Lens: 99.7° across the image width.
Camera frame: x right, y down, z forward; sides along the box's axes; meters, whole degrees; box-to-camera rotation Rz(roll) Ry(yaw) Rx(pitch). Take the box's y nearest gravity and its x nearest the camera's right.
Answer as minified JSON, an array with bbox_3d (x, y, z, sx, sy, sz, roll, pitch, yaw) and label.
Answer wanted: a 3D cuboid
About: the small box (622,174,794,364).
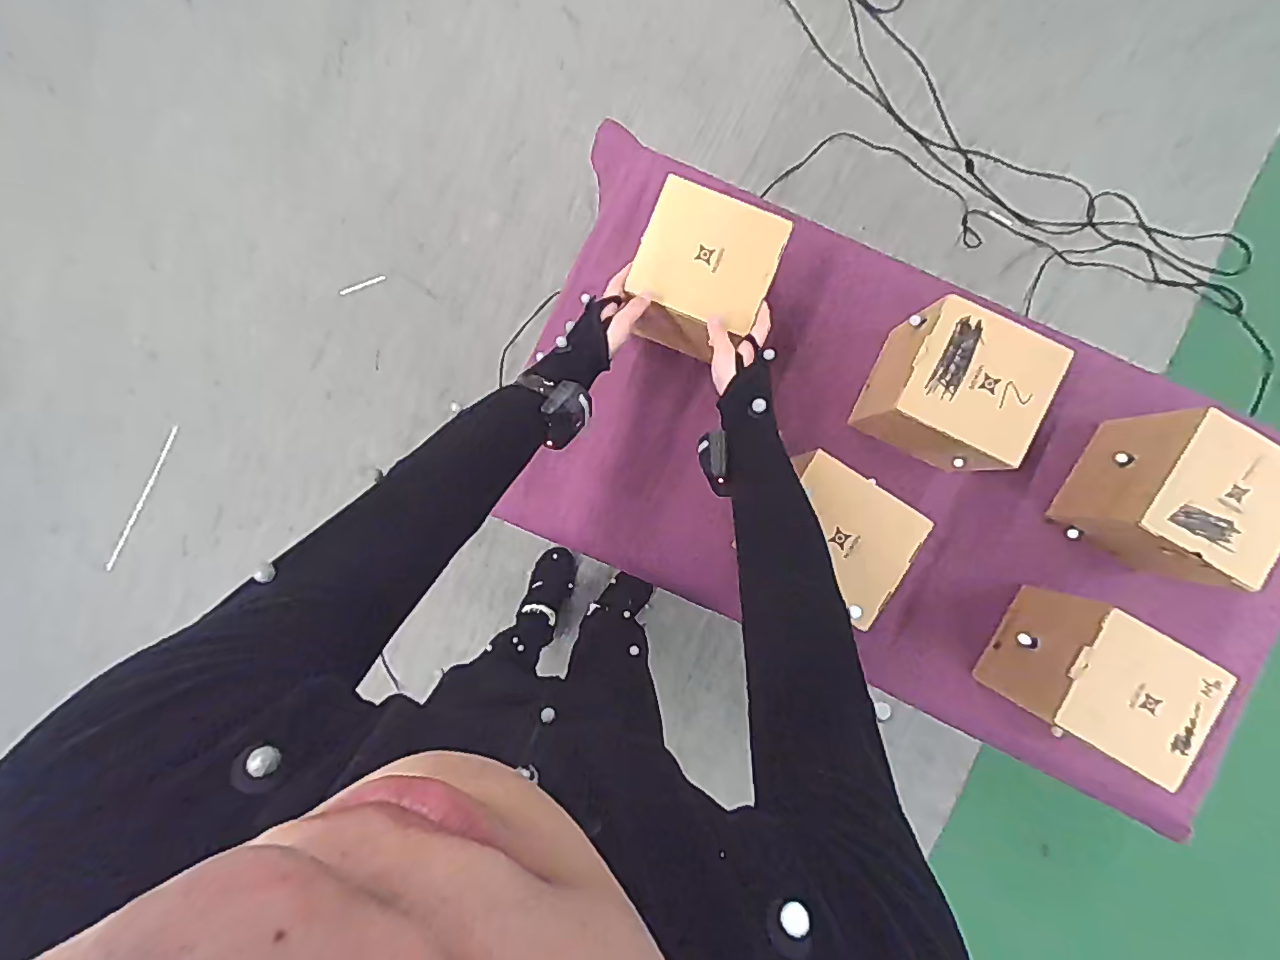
[{"bbox_3d":[0.085,-0.281,0.763,0.179,0.176,0.168,22,88,0],"label":"small box"}]

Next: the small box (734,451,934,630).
[{"bbox_3d":[0.254,0.076,0.756,0.179,0.176,0.168,34,88,2],"label":"small box"}]

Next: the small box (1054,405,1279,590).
[{"bbox_3d":[0.729,0.023,0.746,0.168,0.176,0.179,32,89,1],"label":"small box"}]

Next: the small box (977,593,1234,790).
[{"bbox_3d":[0.616,0.270,0.743,0.179,0.176,0.168,31,89,2],"label":"small box"}]
